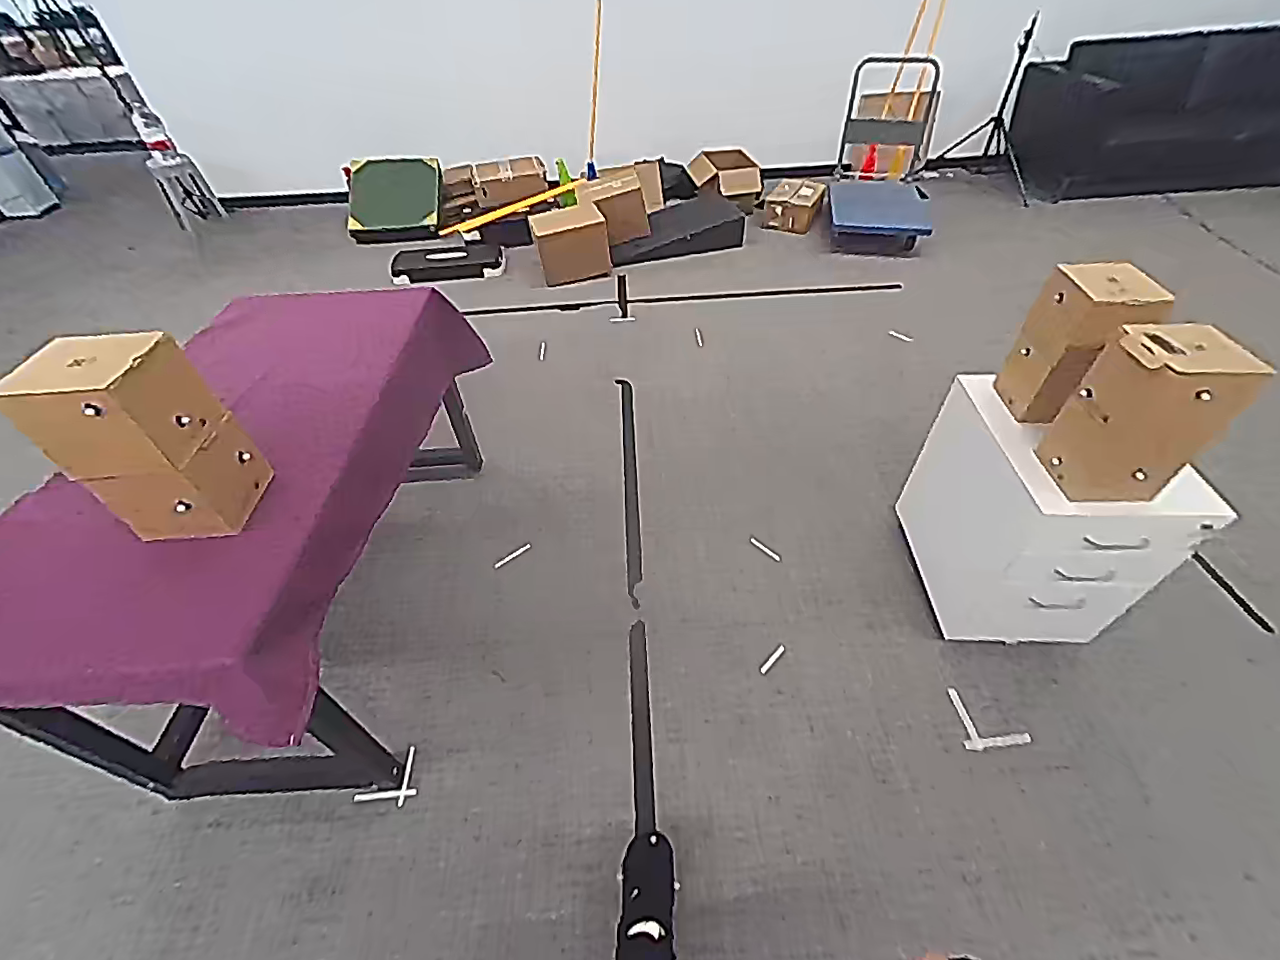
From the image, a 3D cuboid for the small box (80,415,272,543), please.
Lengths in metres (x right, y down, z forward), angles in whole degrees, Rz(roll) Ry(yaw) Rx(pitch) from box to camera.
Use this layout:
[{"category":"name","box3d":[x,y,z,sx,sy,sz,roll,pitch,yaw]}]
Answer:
[{"category":"small box","box3d":[-0.826,0.000,0.992,0.179,0.176,0.168,-4,45,0]}]

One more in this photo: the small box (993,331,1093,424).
[{"category":"small box","box3d":[1.025,-0.253,1.339,0.179,0.176,0.168,2,46,3]}]

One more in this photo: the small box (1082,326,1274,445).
[{"category":"small box","box3d":[1.006,-0.180,1.040,0.179,0.176,0.168,0,46,1]}]

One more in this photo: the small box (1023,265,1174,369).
[{"category":"small box","box3d":[1.016,-0.368,1.221,0.168,0.176,0.179,0,46,4]}]

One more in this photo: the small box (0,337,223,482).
[{"category":"small box","box3d":[-0.838,-0.111,0.873,0.179,0.176,0.168,-5,44,-3]}]
